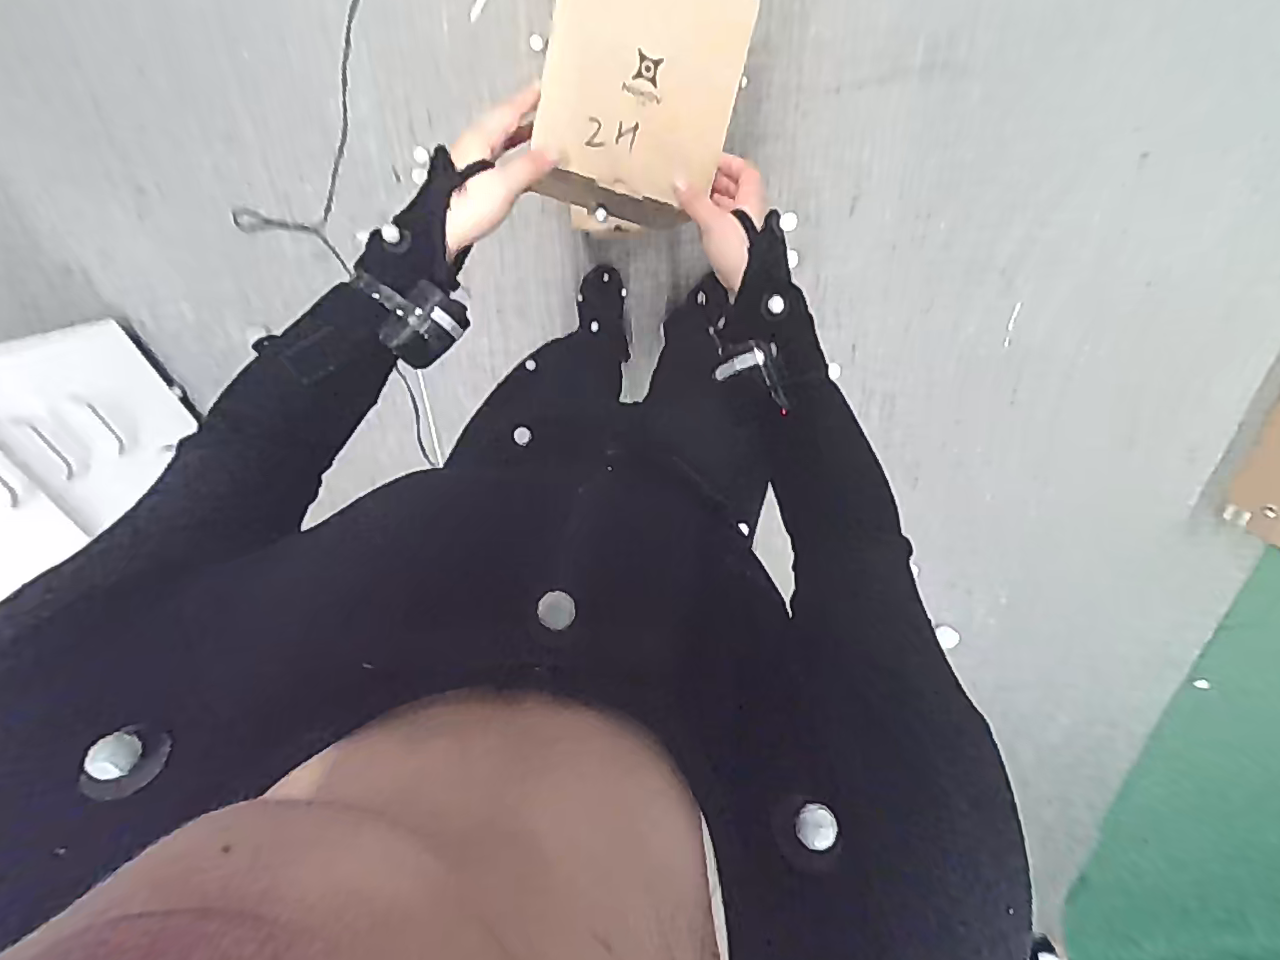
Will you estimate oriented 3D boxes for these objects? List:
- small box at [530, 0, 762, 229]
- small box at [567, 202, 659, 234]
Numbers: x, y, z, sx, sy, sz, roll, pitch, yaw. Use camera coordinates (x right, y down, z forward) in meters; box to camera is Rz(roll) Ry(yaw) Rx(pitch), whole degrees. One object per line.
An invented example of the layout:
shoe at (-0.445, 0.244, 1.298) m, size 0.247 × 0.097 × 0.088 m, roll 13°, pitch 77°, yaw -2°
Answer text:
small box at (-0.011, -0.362, 0.526) m, size 0.168 × 0.176 × 0.179 m, roll 11°, pitch 109°, yaw -15°
small box at (-0.045, -0.552, 0.993) m, size 0.168 × 0.176 × 0.179 m, roll 0°, pitch 115°, yaw -2°
